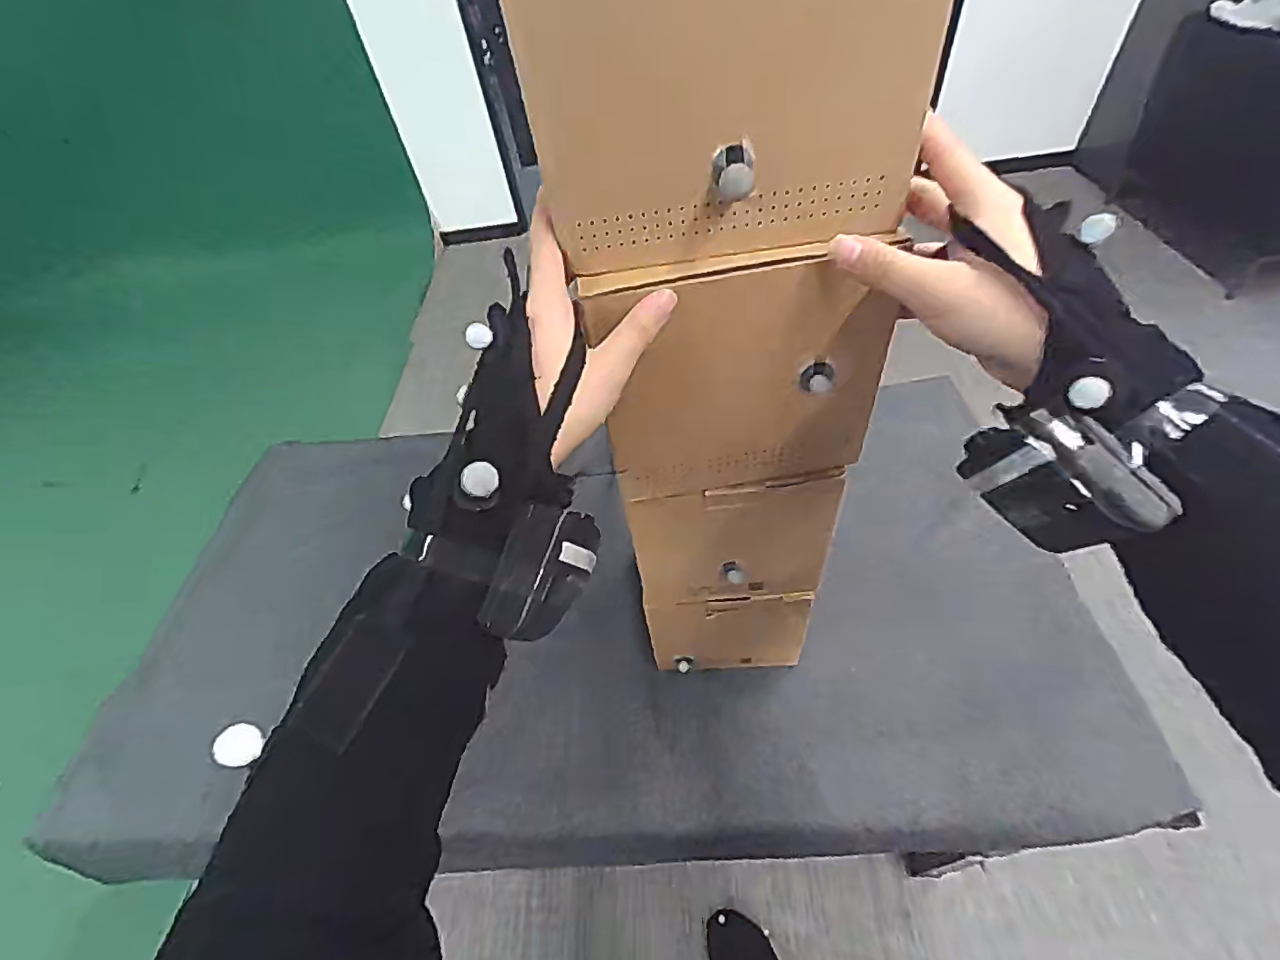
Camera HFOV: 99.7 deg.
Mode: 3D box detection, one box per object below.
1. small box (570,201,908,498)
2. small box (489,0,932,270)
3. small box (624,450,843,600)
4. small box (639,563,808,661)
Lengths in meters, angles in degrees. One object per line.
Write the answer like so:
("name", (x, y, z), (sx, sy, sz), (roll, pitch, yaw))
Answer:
("small box", (0.052, -0.109, 0.384), (0.179, 0.176, 0.168), (-10, 47, 1))
("small box", (0.029, -0.229, 0.272), (0.179, 0.176, 0.168), (-7, 48, 4))
("small box", (0.074, -0.008, 0.509), (0.168, 0.176, 0.179), (-6, 49, 5))
("small box", (0.091, 0.101, 0.632), (0.168, 0.176, 0.179), (-4, 49, 5))
